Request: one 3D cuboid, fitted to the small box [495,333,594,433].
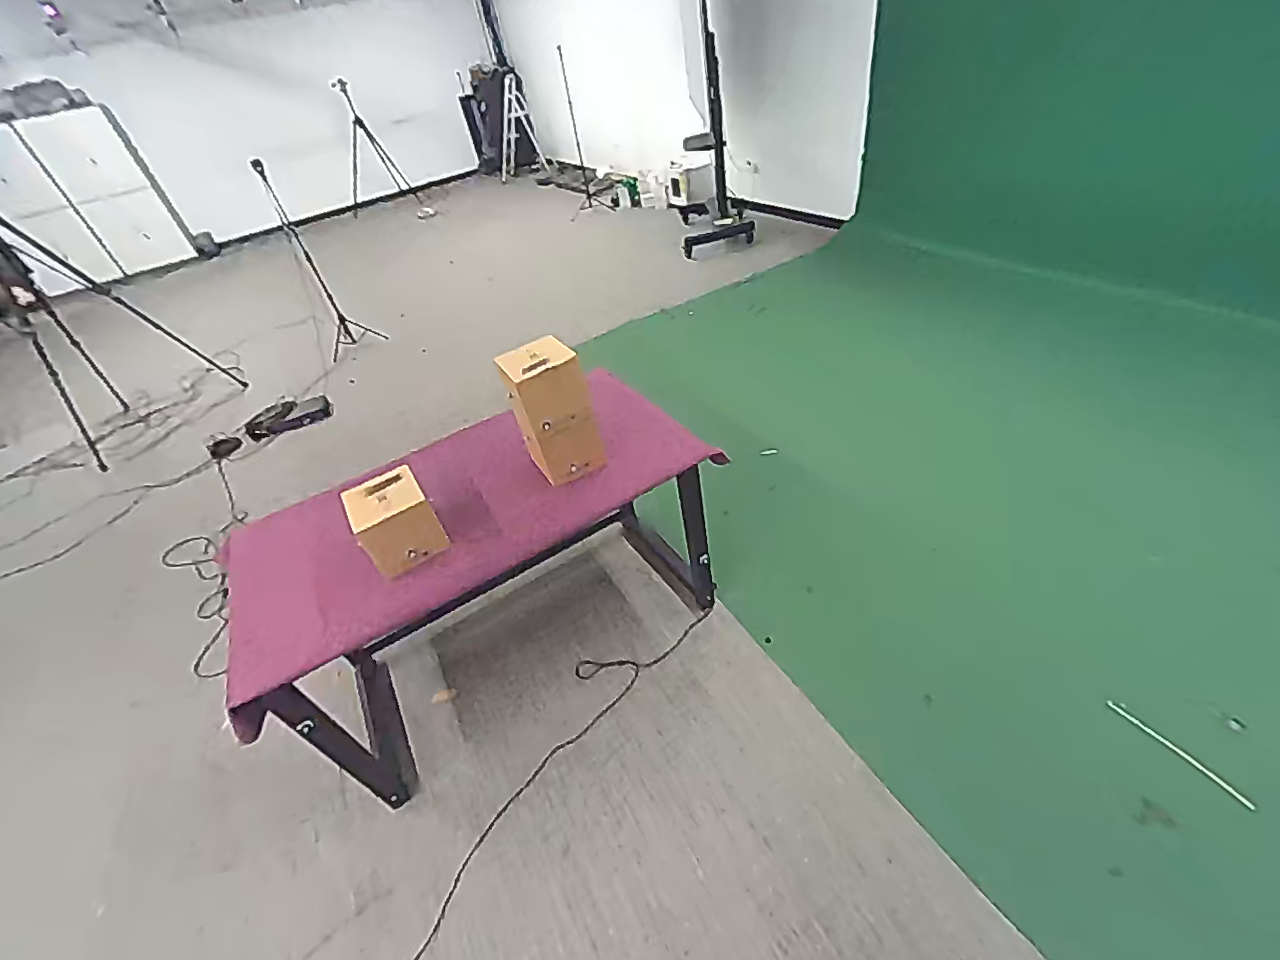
[{"bbox_3d":[-0.236,-0.238,1.358,0.168,0.176,0.179,-28,41,-15],"label":"small box"}]

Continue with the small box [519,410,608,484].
[{"bbox_3d":[-0.207,-0.119,1.466,0.168,0.176,0.179,-28,42,-15],"label":"small box"}]
